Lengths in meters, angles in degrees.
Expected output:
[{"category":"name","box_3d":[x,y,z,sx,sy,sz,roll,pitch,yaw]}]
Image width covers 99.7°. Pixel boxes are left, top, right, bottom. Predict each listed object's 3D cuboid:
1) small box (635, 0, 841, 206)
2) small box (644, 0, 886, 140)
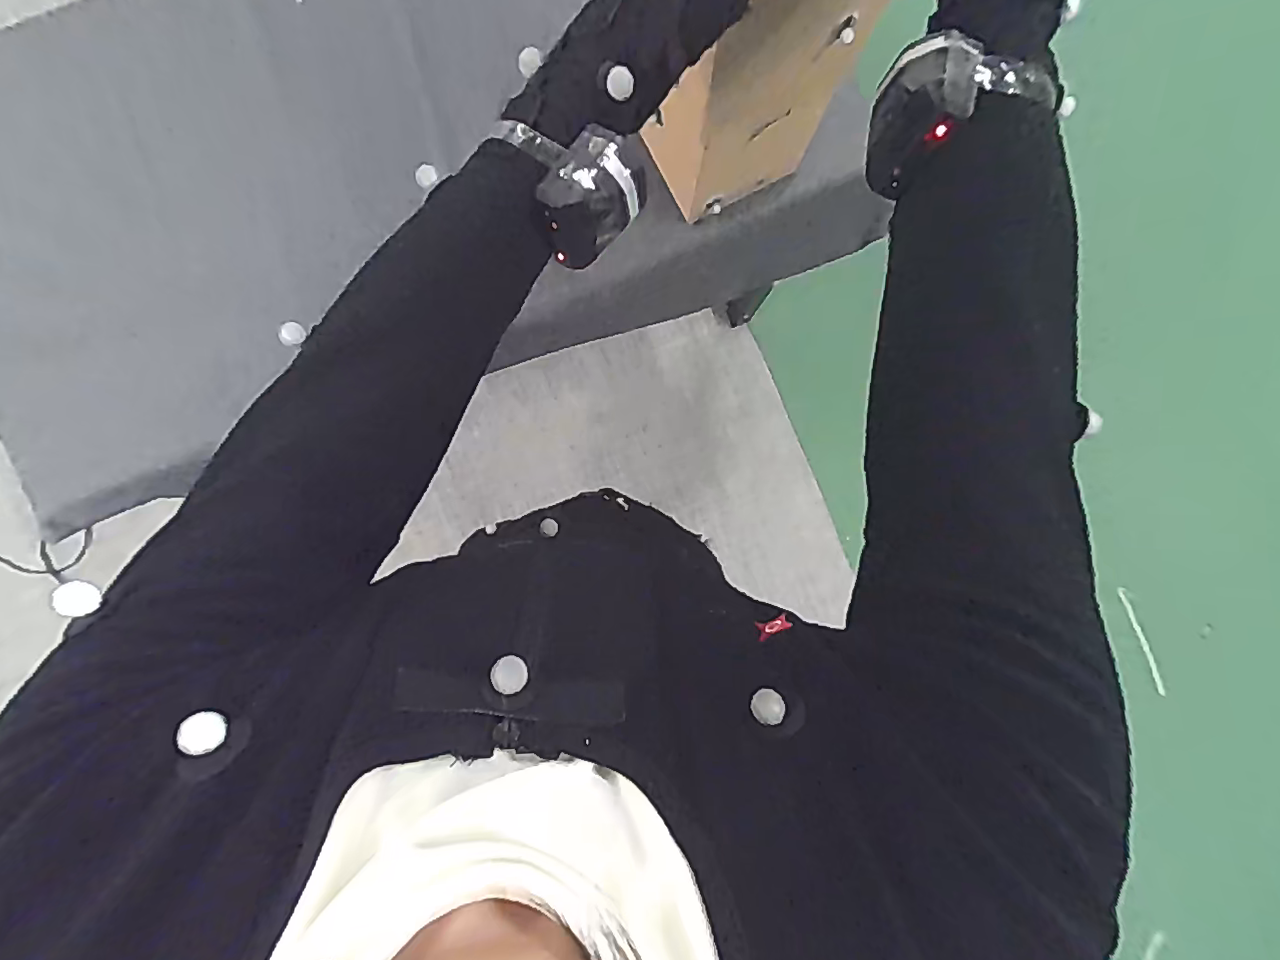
[{"category":"small box","box_3d":[0.105,-0.467,0.652,0.168,0.176,0.179,-27,88,-2]},{"category":"small box","box_3d":[0.111,-0.462,0.491,0.179,0.176,0.168,-25,88,0]}]
